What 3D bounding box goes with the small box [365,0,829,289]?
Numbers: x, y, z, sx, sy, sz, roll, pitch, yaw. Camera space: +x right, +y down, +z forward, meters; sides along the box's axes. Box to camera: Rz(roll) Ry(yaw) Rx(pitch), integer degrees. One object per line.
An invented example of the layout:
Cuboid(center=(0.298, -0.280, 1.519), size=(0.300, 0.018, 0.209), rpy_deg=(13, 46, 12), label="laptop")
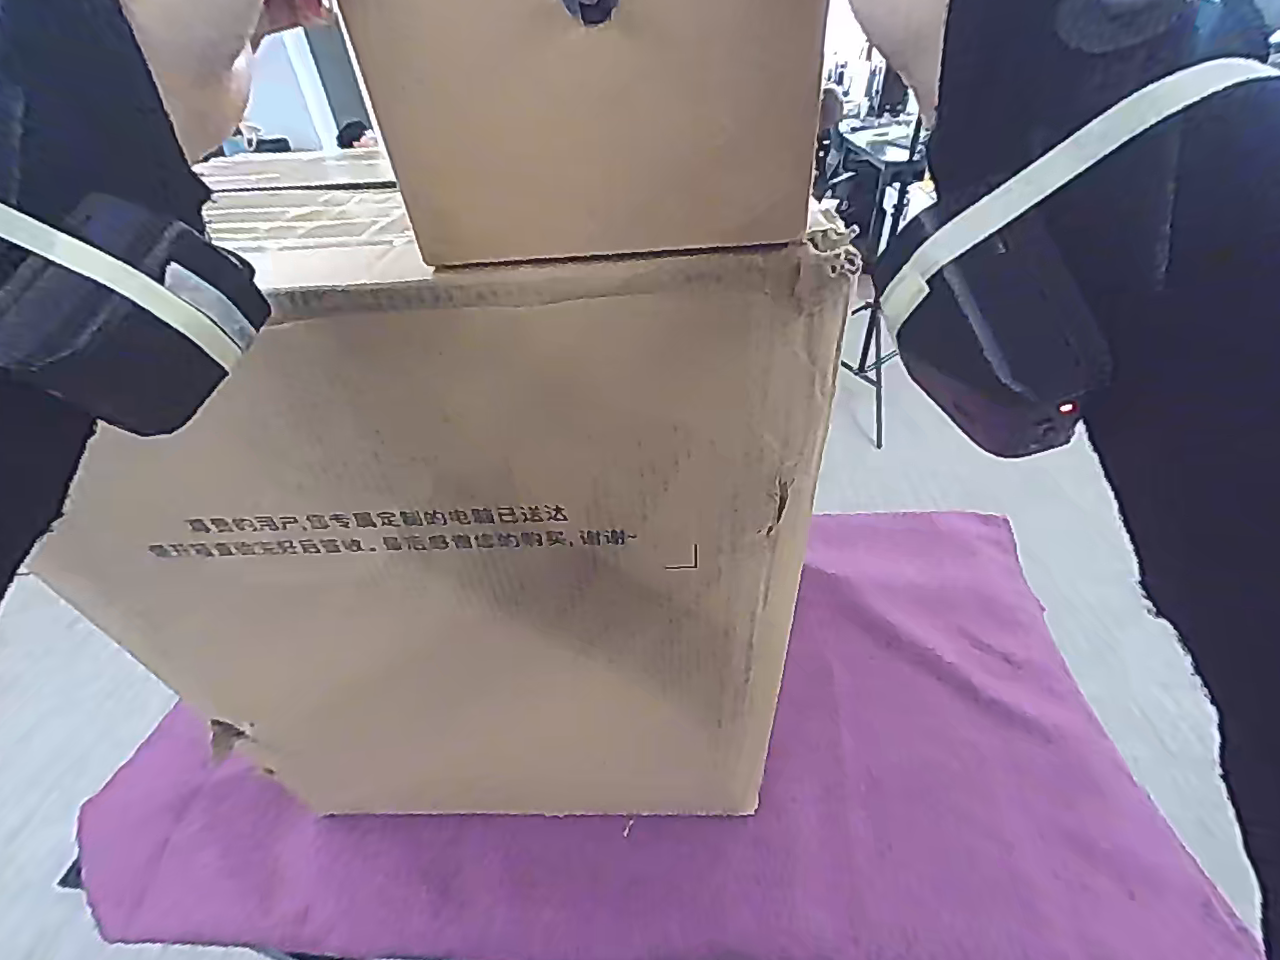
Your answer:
Cuboid(center=(-0.012, -0.205, 0.249), size=(0.168, 0.176, 0.179), rpy_deg=(0, 40, 6), label="small box")
